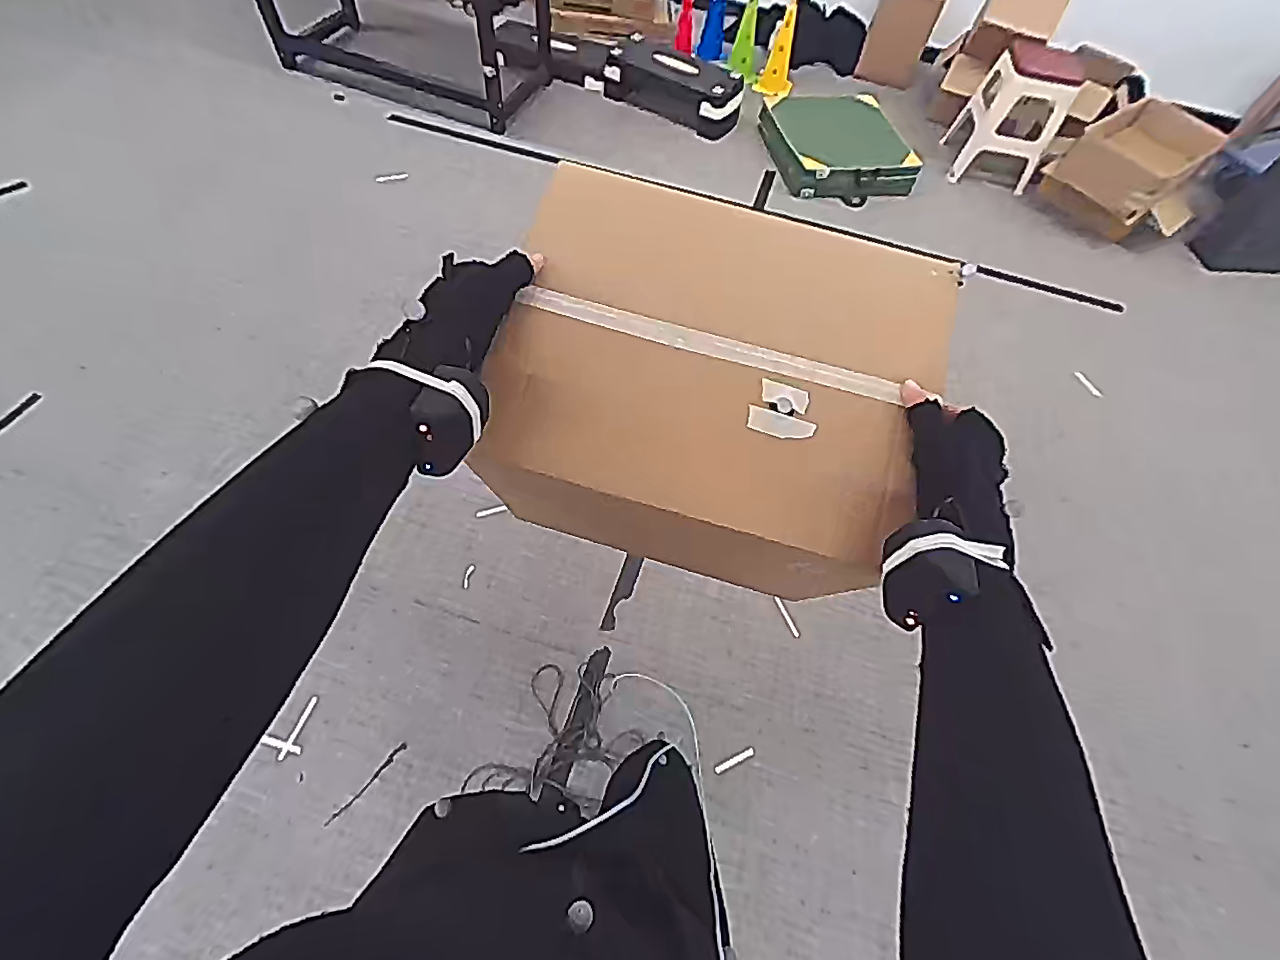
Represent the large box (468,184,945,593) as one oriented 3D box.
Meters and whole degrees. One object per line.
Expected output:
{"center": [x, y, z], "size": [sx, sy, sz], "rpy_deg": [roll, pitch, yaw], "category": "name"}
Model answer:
{"center": [0.069, -0.075, 0.651], "size": [0.408, 0.320, 0.320], "rpy_deg": [16, 75, 2], "category": "large box"}
